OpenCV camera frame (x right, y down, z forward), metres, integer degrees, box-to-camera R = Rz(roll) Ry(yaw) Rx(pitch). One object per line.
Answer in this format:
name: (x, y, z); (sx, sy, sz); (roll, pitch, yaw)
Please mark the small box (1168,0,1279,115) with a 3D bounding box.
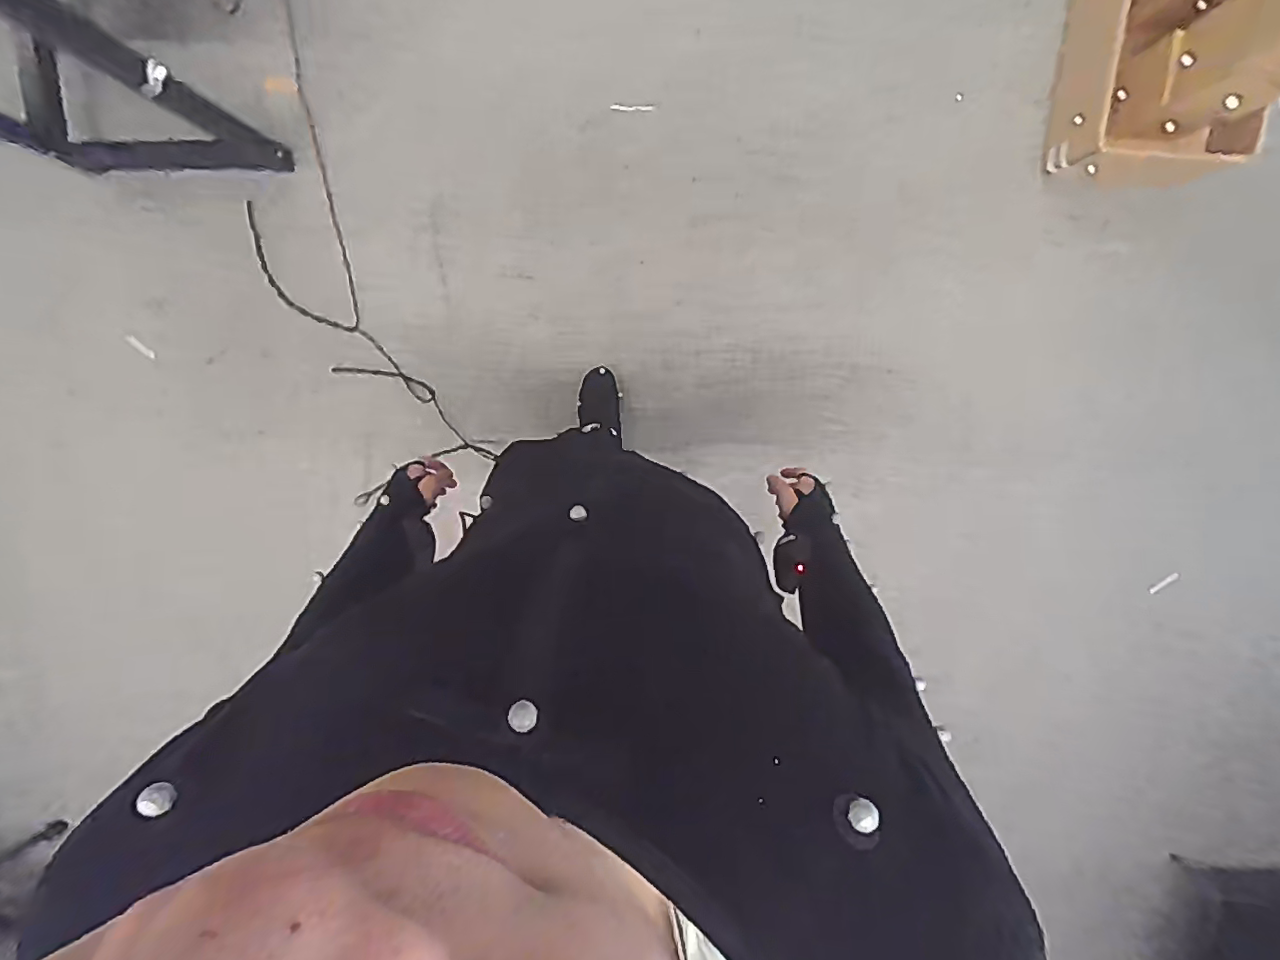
small box: (1.310, -0.924, 1.167); (0.168, 0.176, 0.179); (6, 100, 0)
